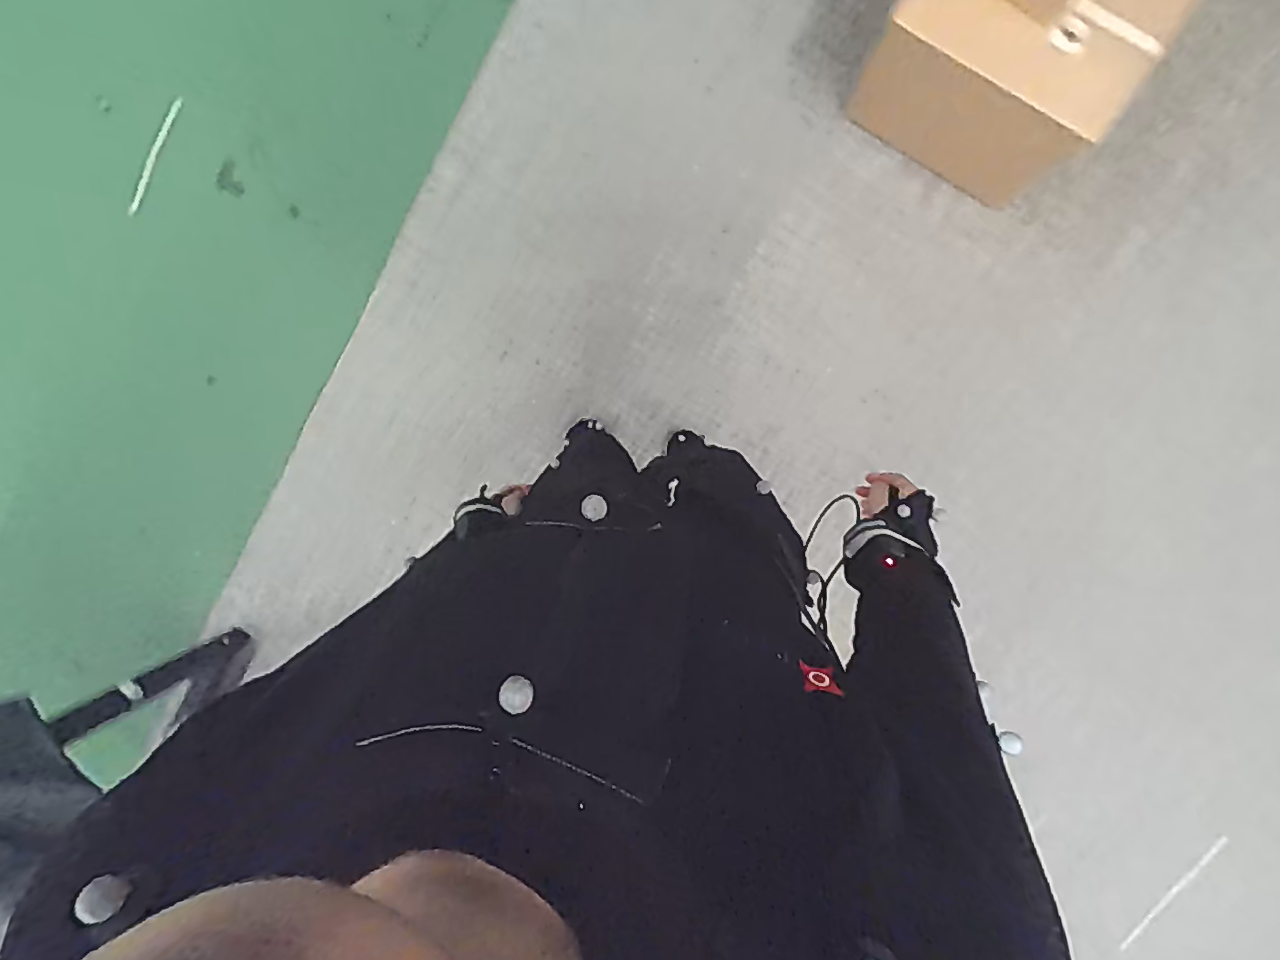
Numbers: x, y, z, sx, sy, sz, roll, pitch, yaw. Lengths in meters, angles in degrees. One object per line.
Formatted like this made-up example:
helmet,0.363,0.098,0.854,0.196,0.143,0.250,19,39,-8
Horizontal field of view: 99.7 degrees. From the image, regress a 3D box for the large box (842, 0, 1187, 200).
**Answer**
large box,0.672,-0.817,1.022,0.408,0.320,0.320,31,101,-1
